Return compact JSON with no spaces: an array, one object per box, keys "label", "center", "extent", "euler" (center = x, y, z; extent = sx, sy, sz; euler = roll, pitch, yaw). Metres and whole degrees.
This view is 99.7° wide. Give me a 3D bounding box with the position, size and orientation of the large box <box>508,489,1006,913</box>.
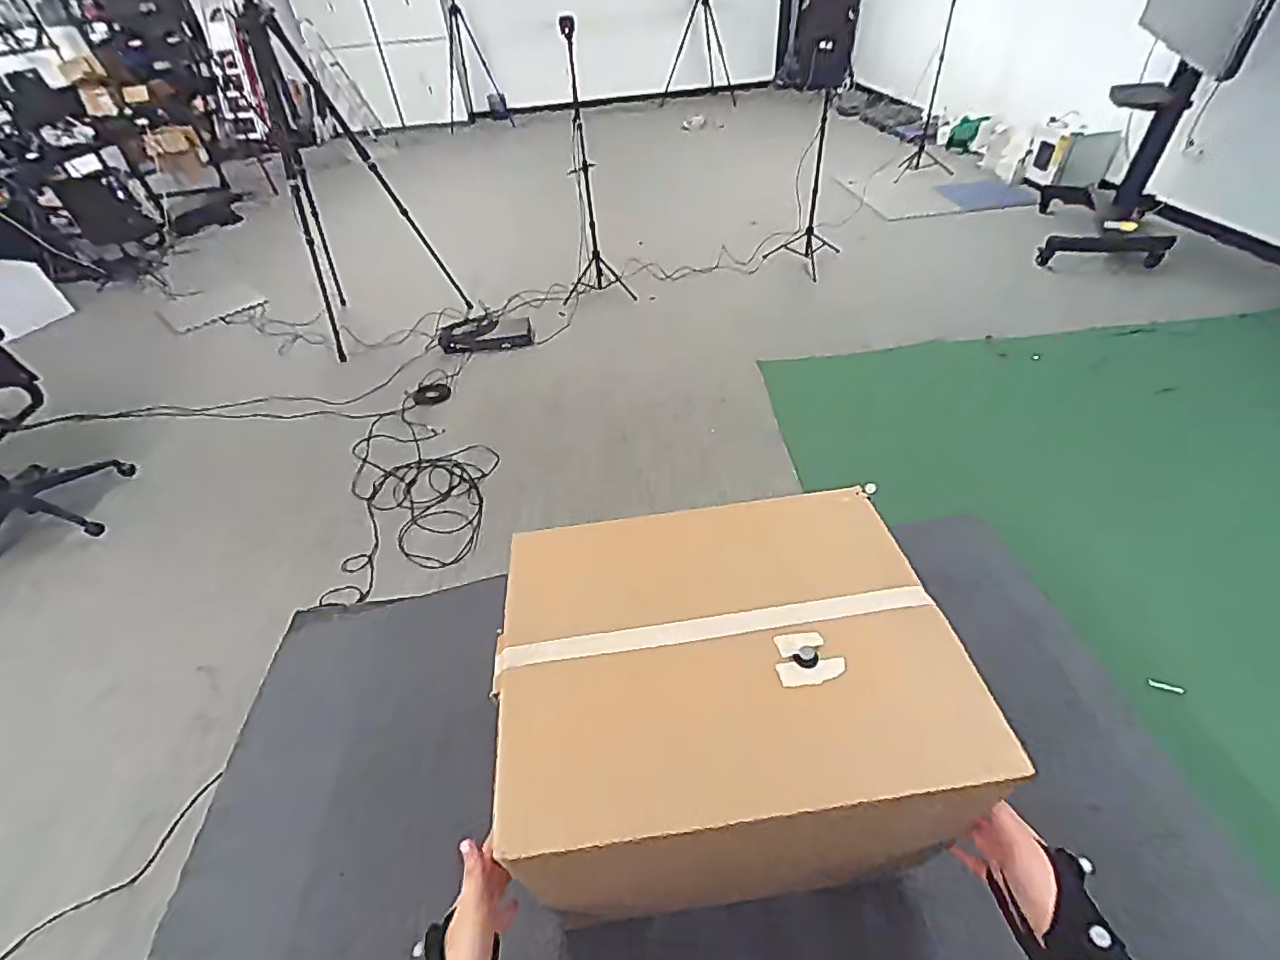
[{"label":"large box","center":[0.083,0.248,0.622],"extent":[0.408,0.320,0.320],"euler":[-8,44,-3]}]
